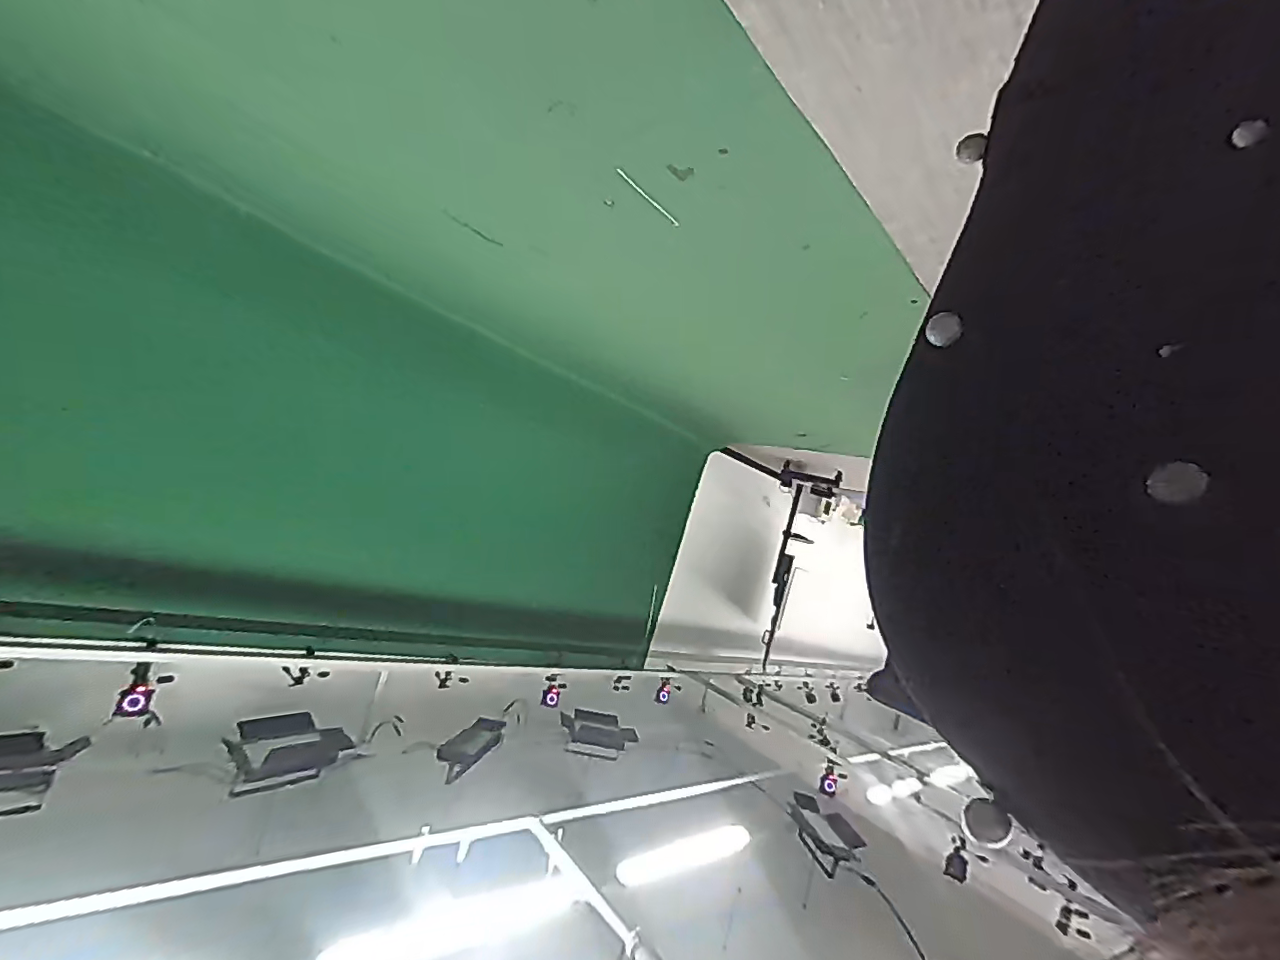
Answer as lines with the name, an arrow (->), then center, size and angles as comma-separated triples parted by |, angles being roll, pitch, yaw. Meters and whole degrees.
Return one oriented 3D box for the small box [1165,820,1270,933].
small box -> 1.564, 1.058, 1.463 | 0.179, 0.176, 0.168 | 18, 177, -38
